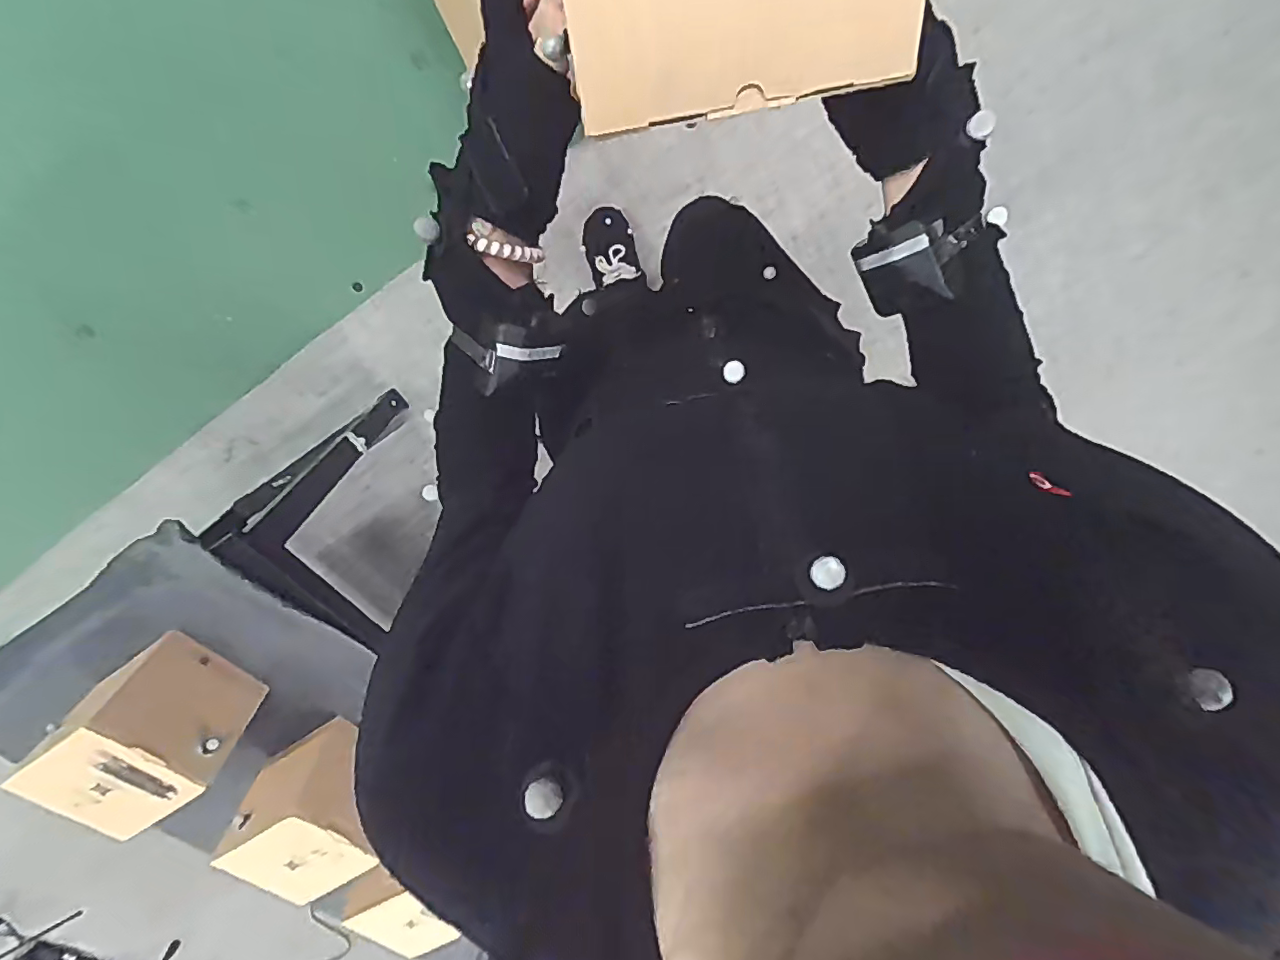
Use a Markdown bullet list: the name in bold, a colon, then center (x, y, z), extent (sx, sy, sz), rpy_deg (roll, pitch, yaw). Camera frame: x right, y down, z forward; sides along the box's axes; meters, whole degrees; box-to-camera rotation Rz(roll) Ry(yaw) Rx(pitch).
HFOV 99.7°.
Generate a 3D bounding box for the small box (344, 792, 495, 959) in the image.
- **small box**: center (-0.380, 0.704, 0.973), extent (0.179, 0.176, 0.168), rpy_deg (-31, 115, 10)

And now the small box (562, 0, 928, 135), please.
- **small box**: center (0.035, -0.300, 0.278), extent (0.168, 0.176, 0.179), rpy_deg (-11, 129, 1)

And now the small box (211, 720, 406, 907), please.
- **small box**: center (-0.513, 0.529, 0.868), extent (0.179, 0.176, 0.168), rpy_deg (-33, 116, 10)
